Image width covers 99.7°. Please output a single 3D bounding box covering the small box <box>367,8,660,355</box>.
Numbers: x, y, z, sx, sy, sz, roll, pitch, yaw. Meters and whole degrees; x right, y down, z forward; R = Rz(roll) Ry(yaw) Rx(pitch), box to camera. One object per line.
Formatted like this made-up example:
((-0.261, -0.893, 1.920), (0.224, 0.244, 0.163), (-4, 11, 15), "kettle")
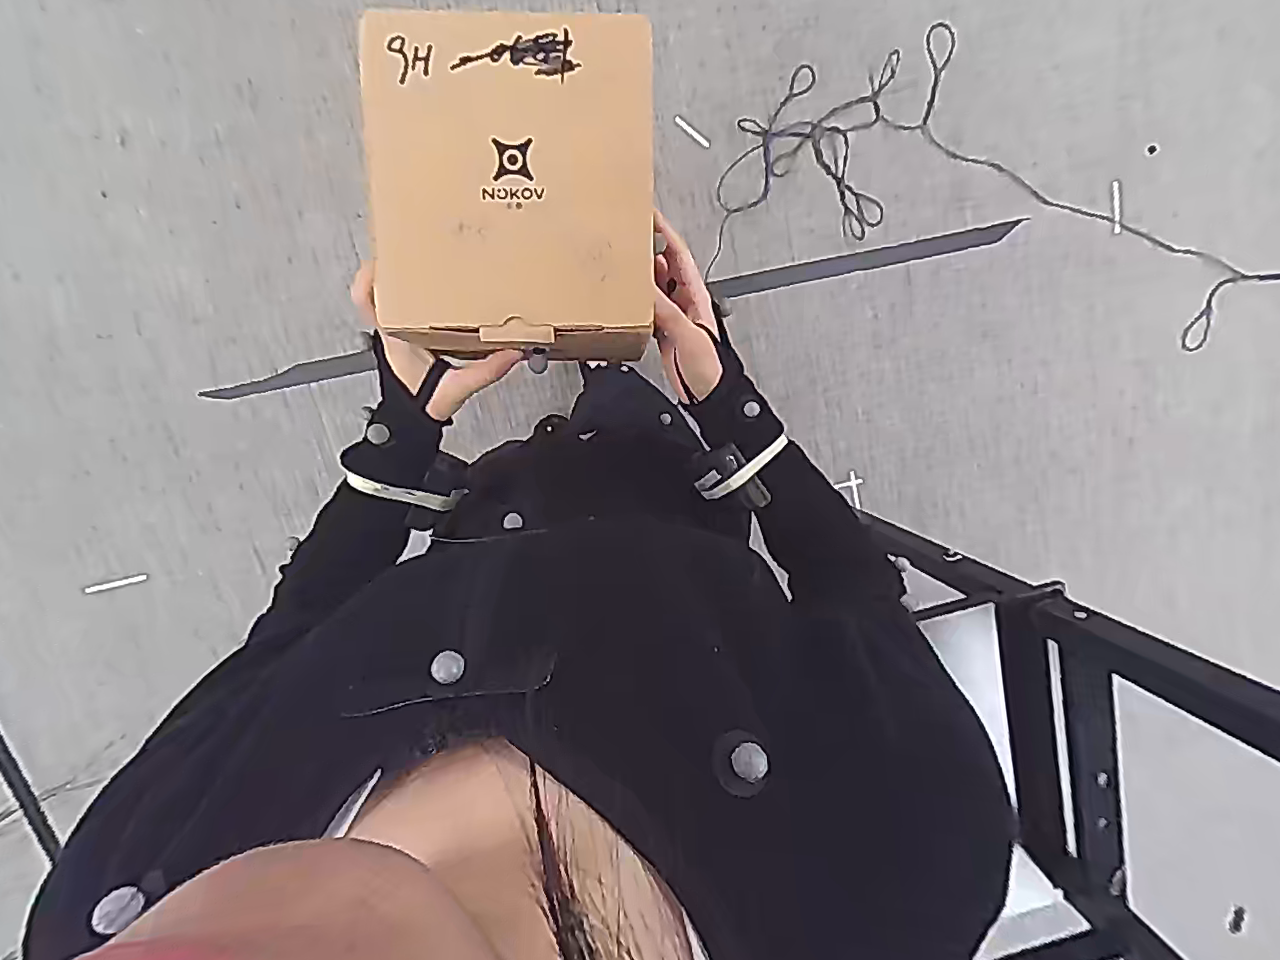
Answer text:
((-0.073, -0.185, 0.392), (0.168, 0.176, 0.179), (0, 97, -3), "small box")
